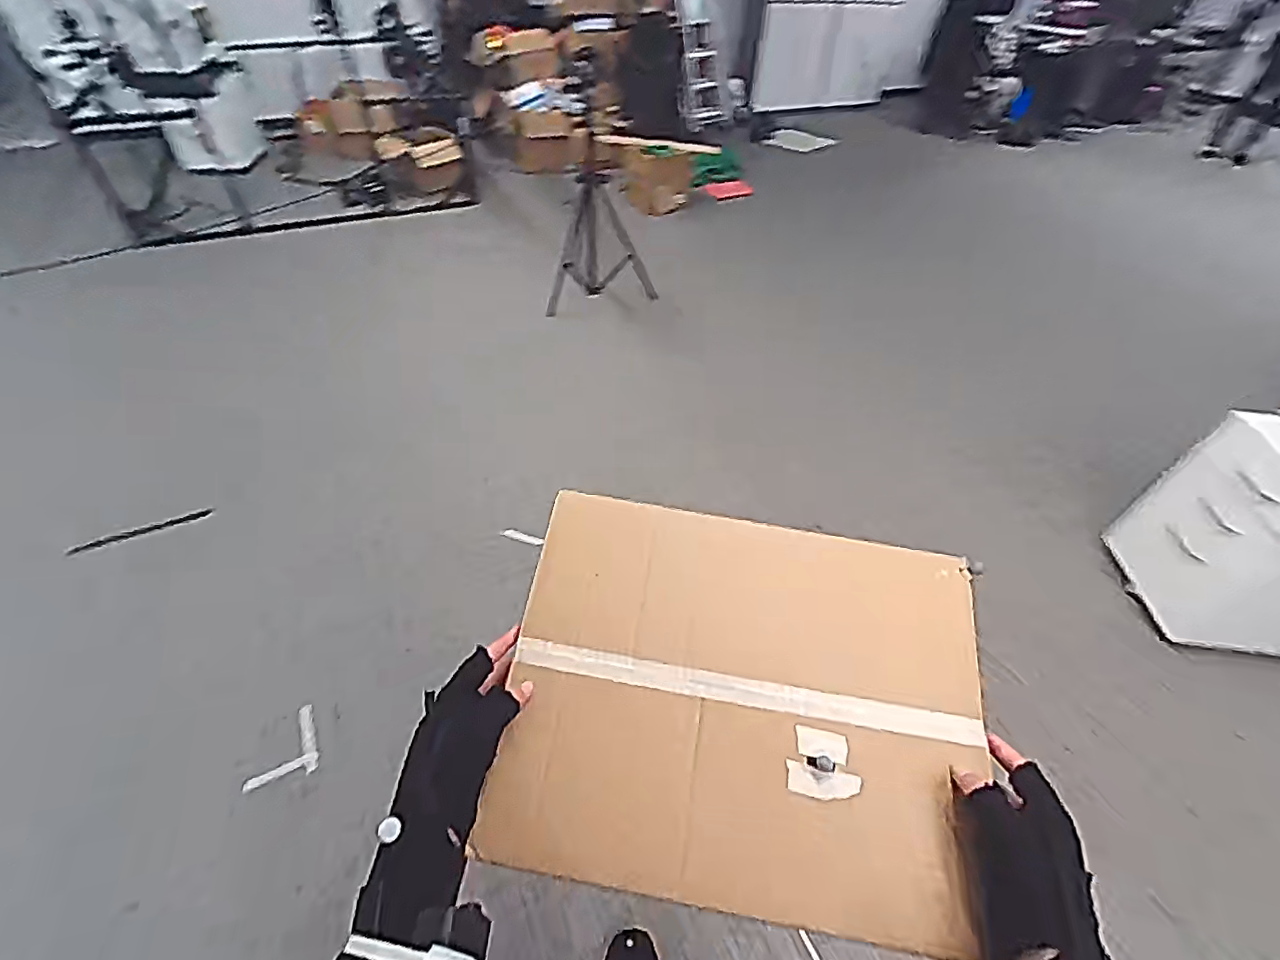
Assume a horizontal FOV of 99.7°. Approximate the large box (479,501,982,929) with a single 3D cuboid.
[{"bbox_3d":[0.081,0.247,0.617,0.408,0.320,0.320,9,65,2],"label":"large box"}]
